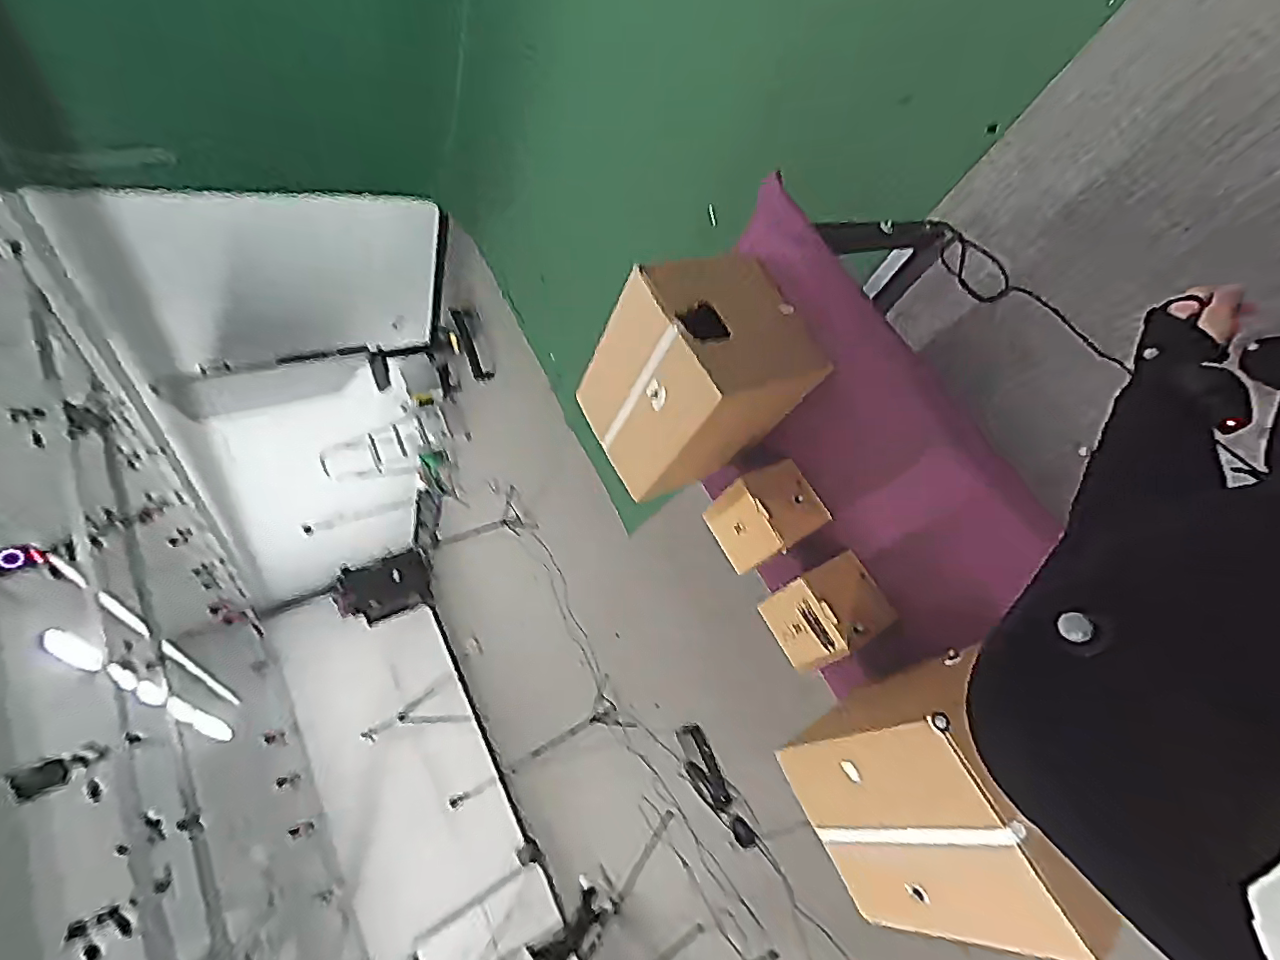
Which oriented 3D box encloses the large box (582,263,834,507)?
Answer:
[{"bbox_3d":[0.123,-0.201,1.170,0.320,0.320,0.408,59,145,17],"label":"large box"}]
